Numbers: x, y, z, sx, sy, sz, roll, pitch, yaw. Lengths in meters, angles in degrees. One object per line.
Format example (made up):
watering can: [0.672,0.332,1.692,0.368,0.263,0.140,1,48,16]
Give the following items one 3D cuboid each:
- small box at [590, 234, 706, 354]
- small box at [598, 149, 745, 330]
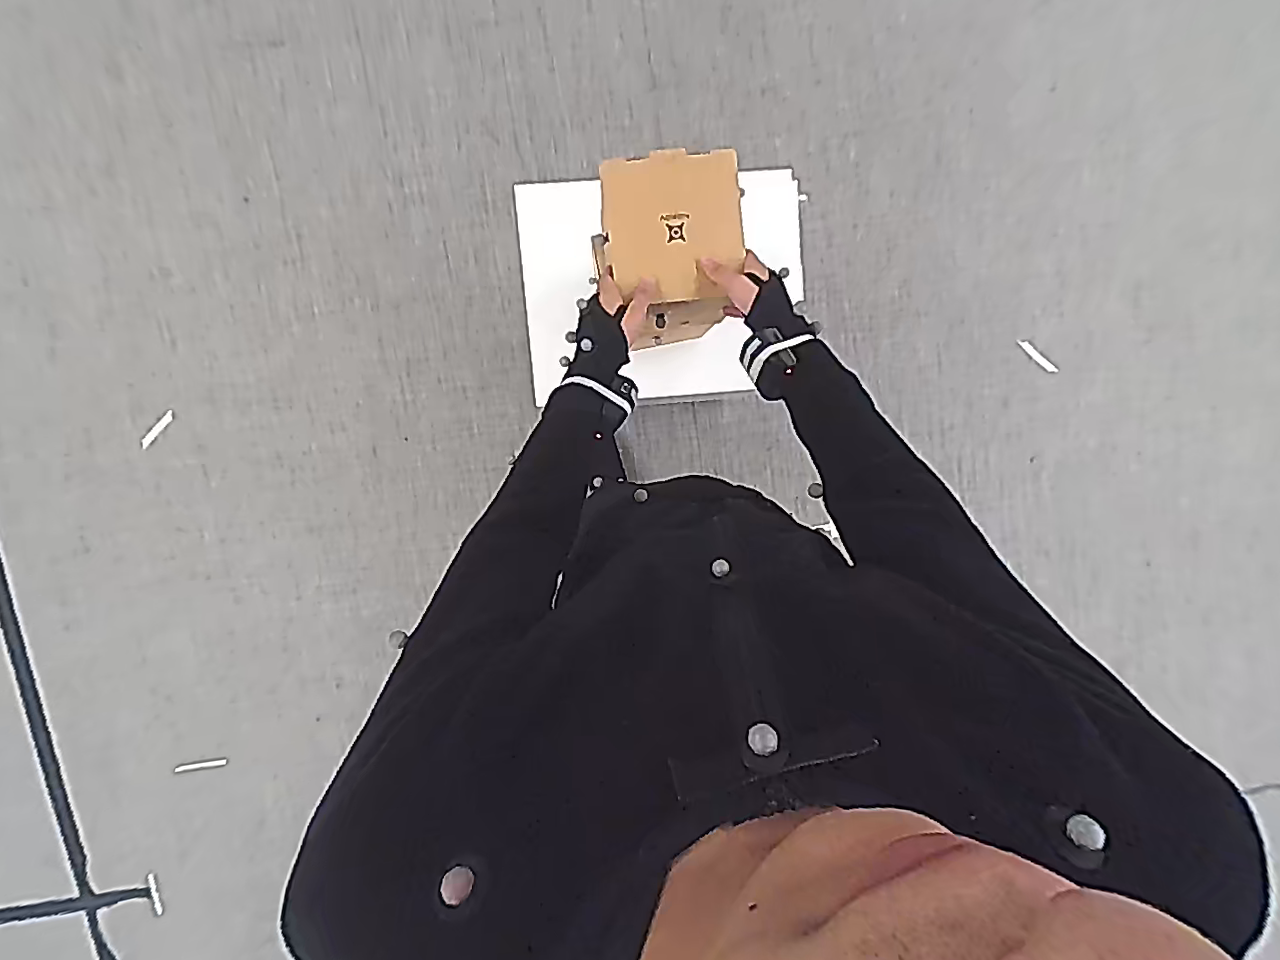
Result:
small box: [0.018,-0.320,0.922,0.179,0.176,0.168,-13,96,-3]
small box: [0.035,-0.308,0.730,0.168,0.176,0.179,-7,93,-3]
